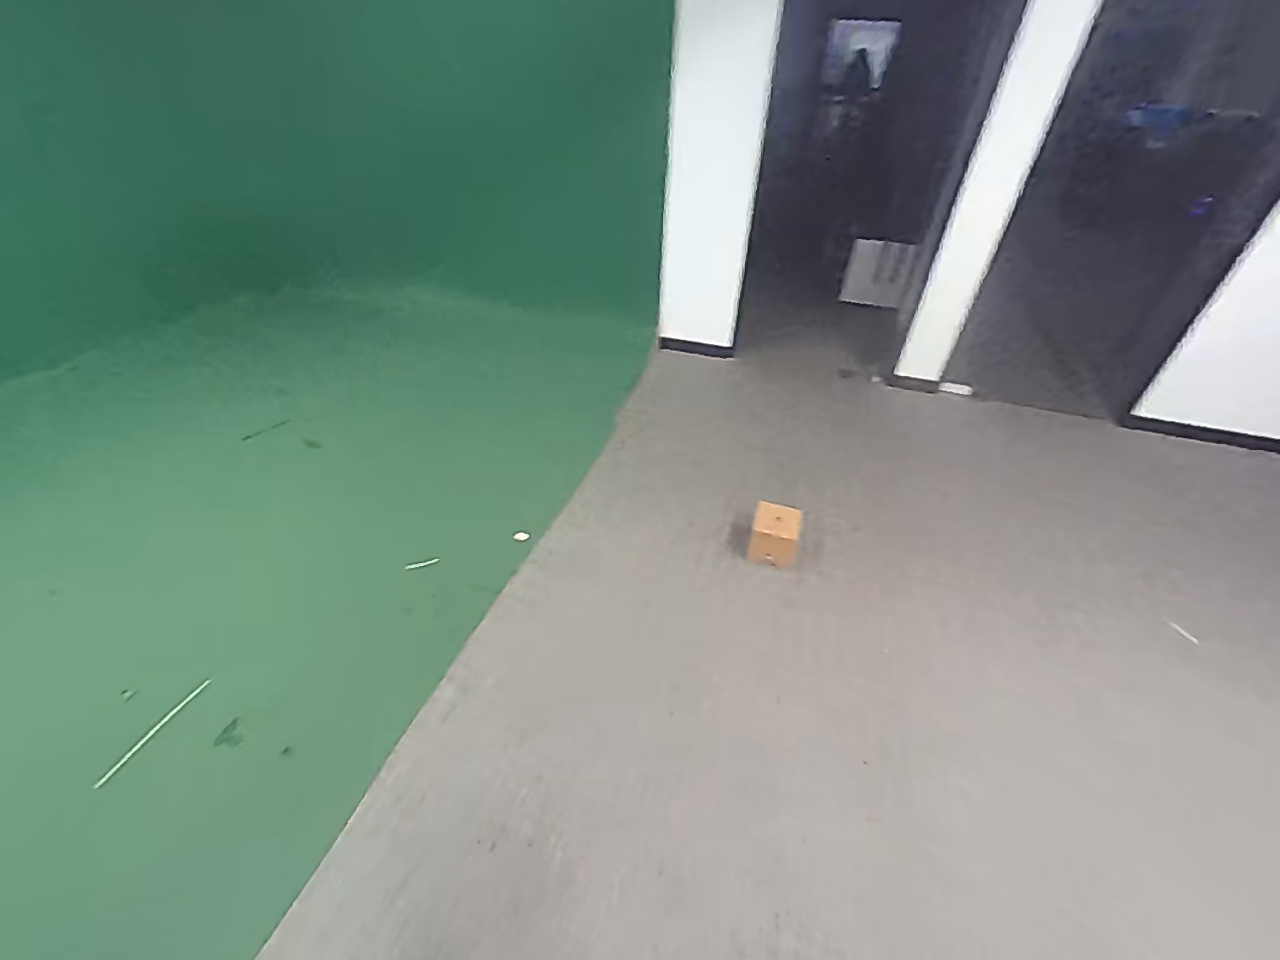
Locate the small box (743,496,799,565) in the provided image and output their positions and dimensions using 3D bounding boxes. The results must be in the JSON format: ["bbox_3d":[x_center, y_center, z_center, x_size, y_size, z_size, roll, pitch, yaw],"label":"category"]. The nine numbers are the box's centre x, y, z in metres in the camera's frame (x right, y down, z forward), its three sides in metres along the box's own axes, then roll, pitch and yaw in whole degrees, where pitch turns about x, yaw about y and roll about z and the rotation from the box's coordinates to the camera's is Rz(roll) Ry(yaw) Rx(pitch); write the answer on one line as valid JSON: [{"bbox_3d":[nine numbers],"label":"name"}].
[{"bbox_3d":[0.497,0.193,2.062,0.168,0.176,0.179,13,41,14],"label":"small box"}]
